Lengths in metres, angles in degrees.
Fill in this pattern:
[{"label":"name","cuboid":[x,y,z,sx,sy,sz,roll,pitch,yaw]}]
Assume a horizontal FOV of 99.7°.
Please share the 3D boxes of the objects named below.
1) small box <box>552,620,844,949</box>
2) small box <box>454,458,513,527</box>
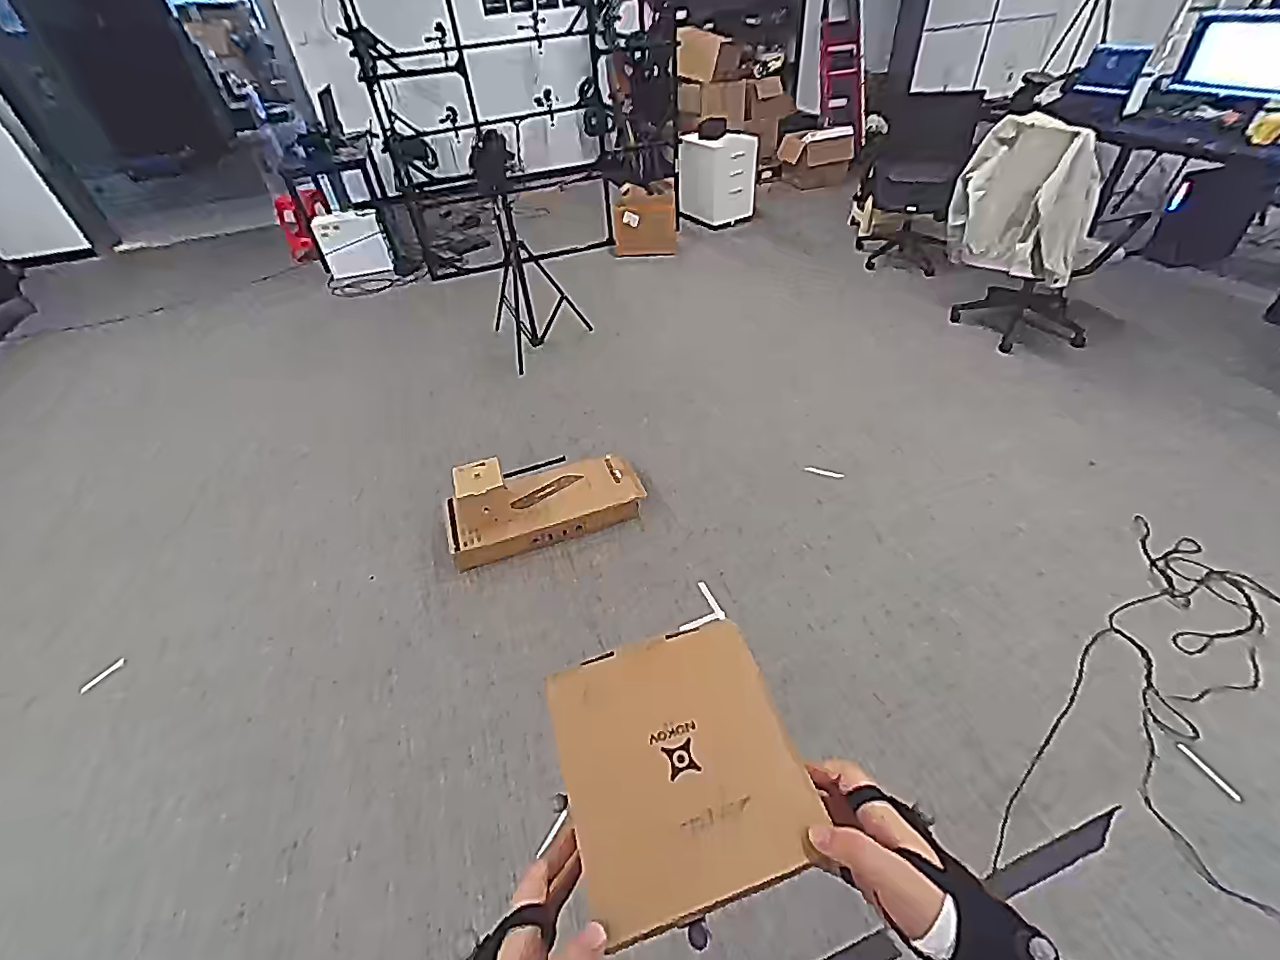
[{"label":"small box","cuboid":[0.029,0.250,0.447,0.168,0.176,0.179,-13,50,-13]},{"label":"small box","cuboid":[-0.571,0.053,1.977,0.168,0.176,0.179,-15,43,-12]}]
